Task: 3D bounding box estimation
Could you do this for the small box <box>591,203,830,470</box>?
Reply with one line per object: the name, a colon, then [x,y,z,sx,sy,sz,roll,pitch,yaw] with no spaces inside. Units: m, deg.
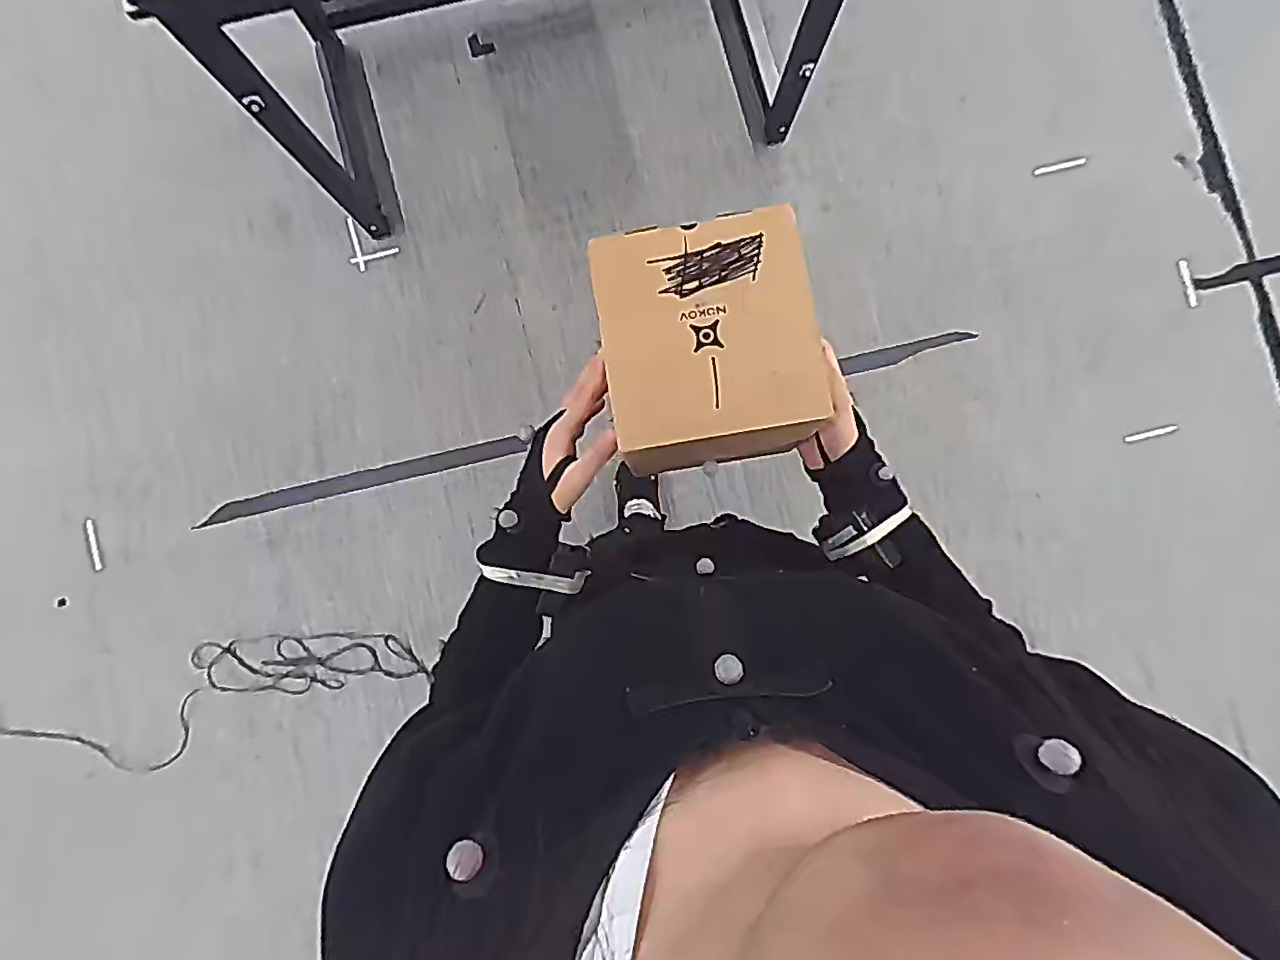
small box: [0.055,-0.114,0.498,0.168,0.176,0.179,-9,84,3]
